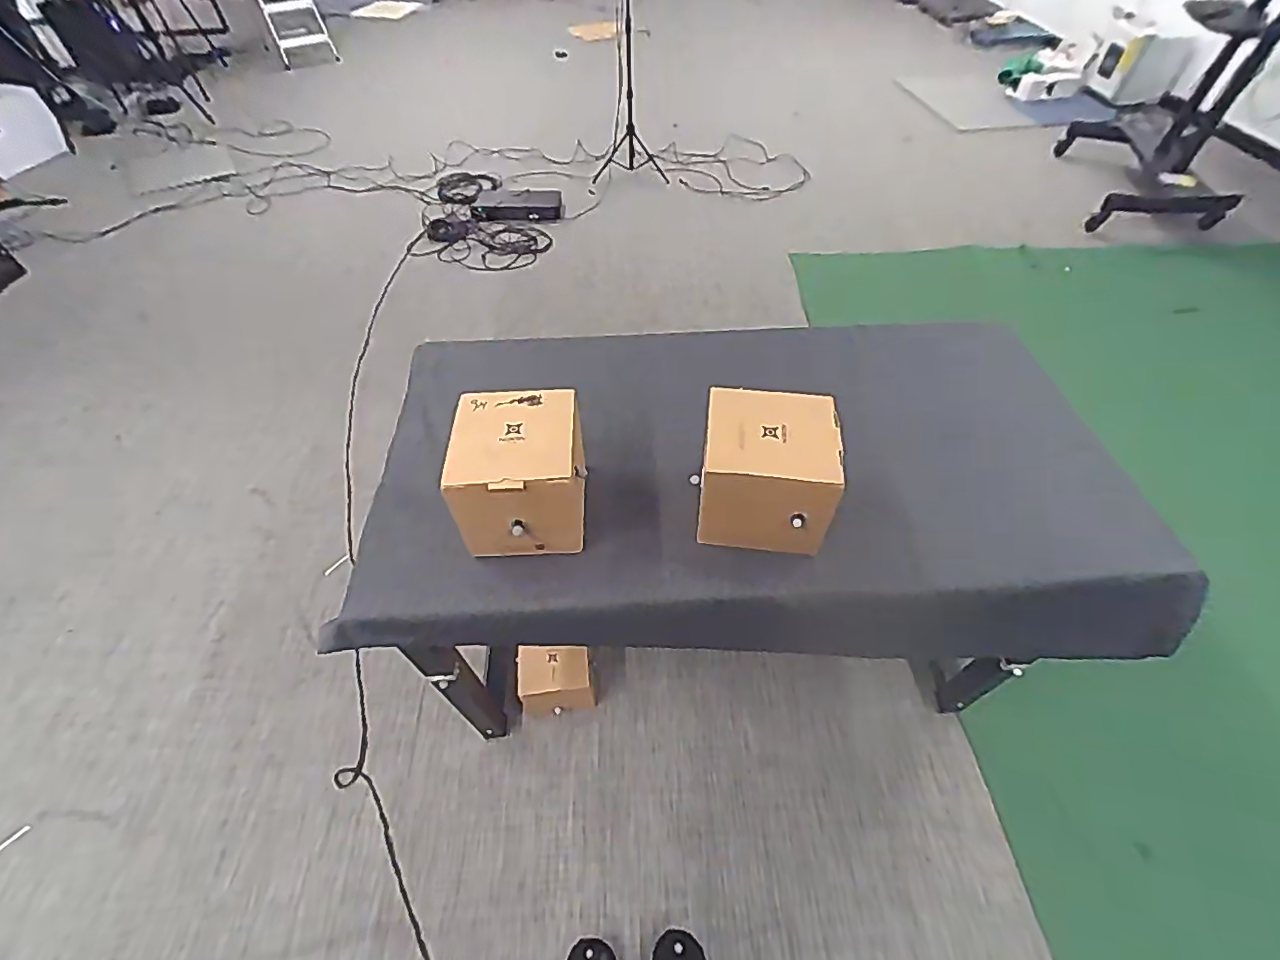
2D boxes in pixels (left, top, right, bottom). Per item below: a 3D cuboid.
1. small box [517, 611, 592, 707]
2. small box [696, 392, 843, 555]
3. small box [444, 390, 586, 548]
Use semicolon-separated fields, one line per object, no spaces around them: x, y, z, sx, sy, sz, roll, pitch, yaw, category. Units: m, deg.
-0.211;0.451;1.359;0.168;0.176;0.179;-5;53;-3;small box
0.180;-0.005;0.792;0.179;0.176;0.168;5;51;6;small box
-0.168;-0.011;0.793;0.168;0.176;0.179;-1;51;-2;small box
